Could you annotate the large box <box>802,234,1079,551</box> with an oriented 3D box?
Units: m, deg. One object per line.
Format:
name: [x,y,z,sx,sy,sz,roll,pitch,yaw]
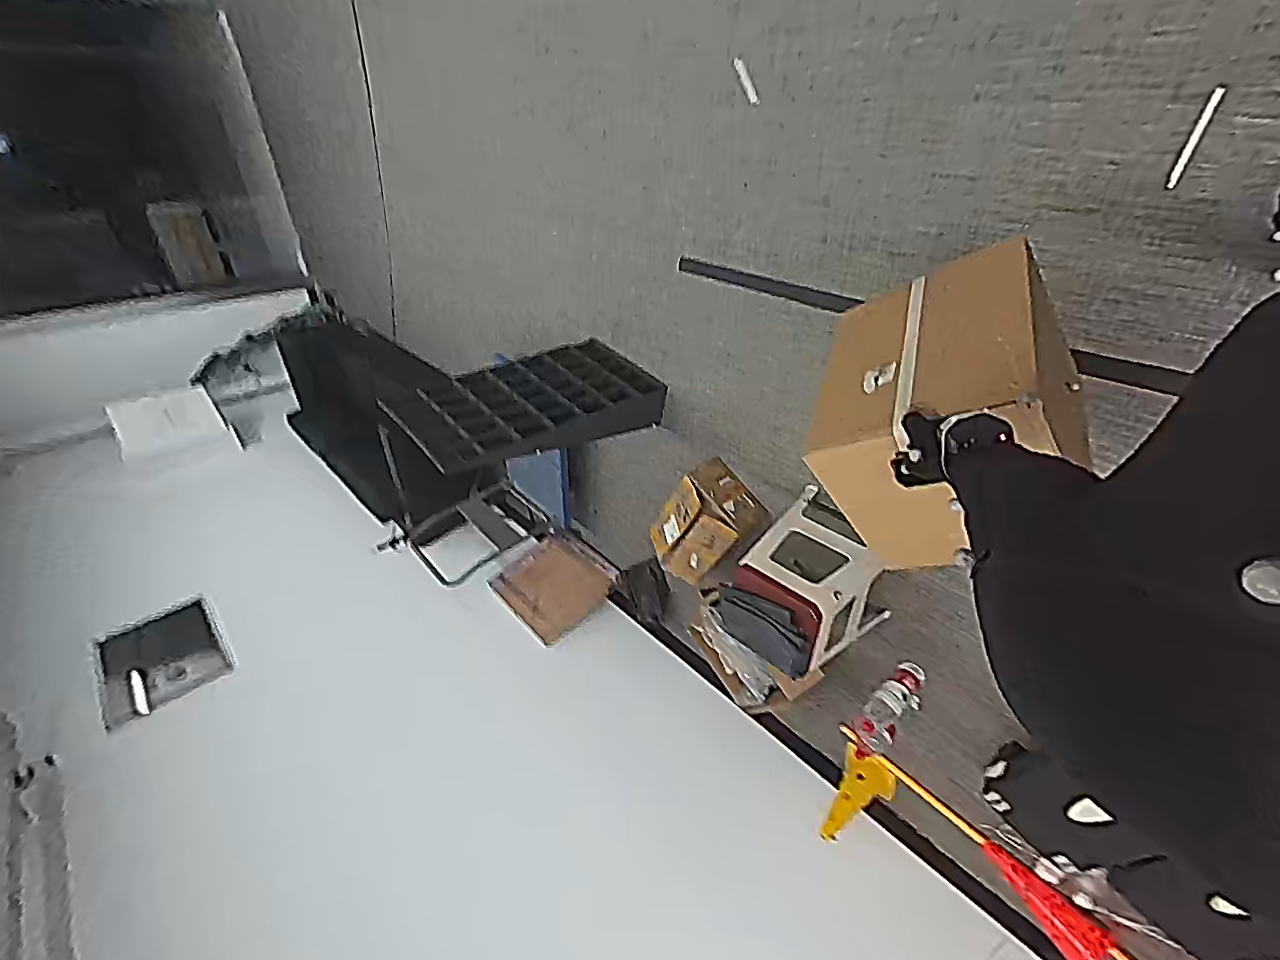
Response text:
large box: [0.523,-0.133,0.934,0.320,0.408,0.320,-13,130,44]
